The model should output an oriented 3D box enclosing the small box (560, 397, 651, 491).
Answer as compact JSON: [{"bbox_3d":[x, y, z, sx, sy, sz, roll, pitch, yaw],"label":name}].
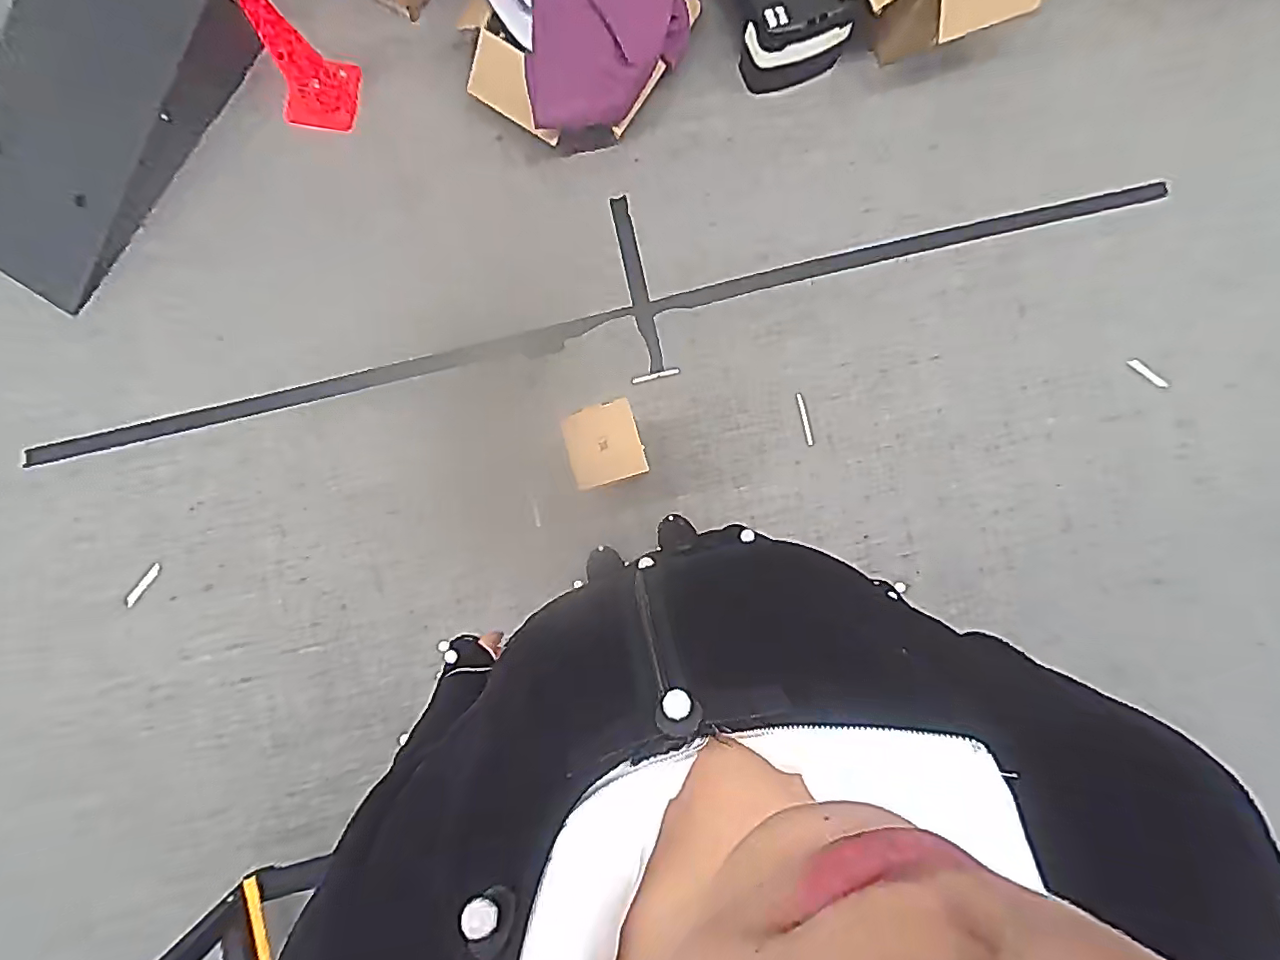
[{"bbox_3d":[-0.078,-0.078,1.280,0.168,0.176,0.179,-18,89,0],"label":"small box"}]
